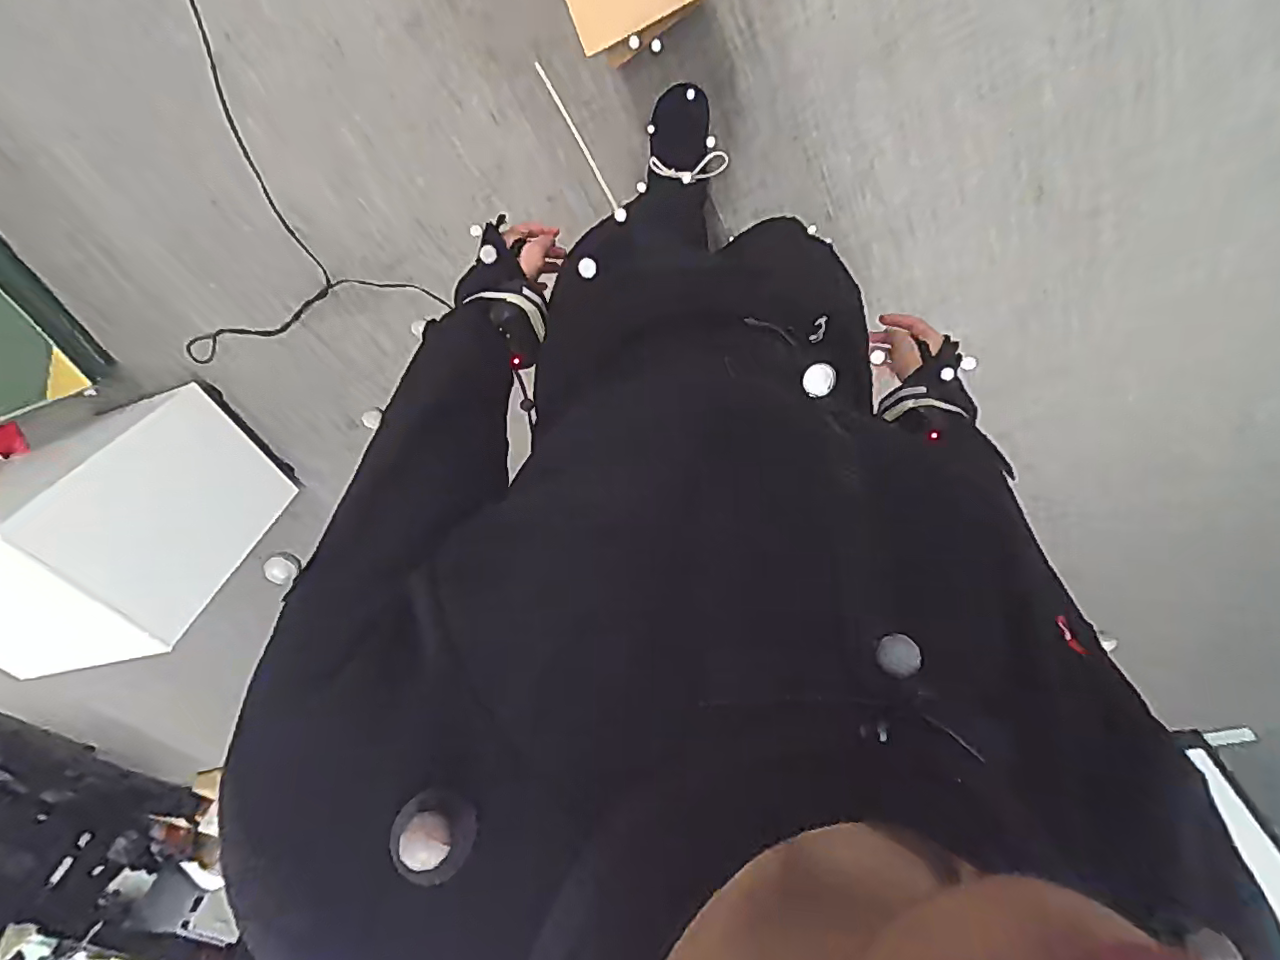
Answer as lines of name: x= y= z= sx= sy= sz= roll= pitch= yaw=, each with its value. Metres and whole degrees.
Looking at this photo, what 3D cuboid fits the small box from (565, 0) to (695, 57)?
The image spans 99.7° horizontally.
small box: x=-0.023 y=-0.698 z=0.708 sx=0.168 sy=0.176 sz=0.179 roll=-16 pitch=126 yaw=17
